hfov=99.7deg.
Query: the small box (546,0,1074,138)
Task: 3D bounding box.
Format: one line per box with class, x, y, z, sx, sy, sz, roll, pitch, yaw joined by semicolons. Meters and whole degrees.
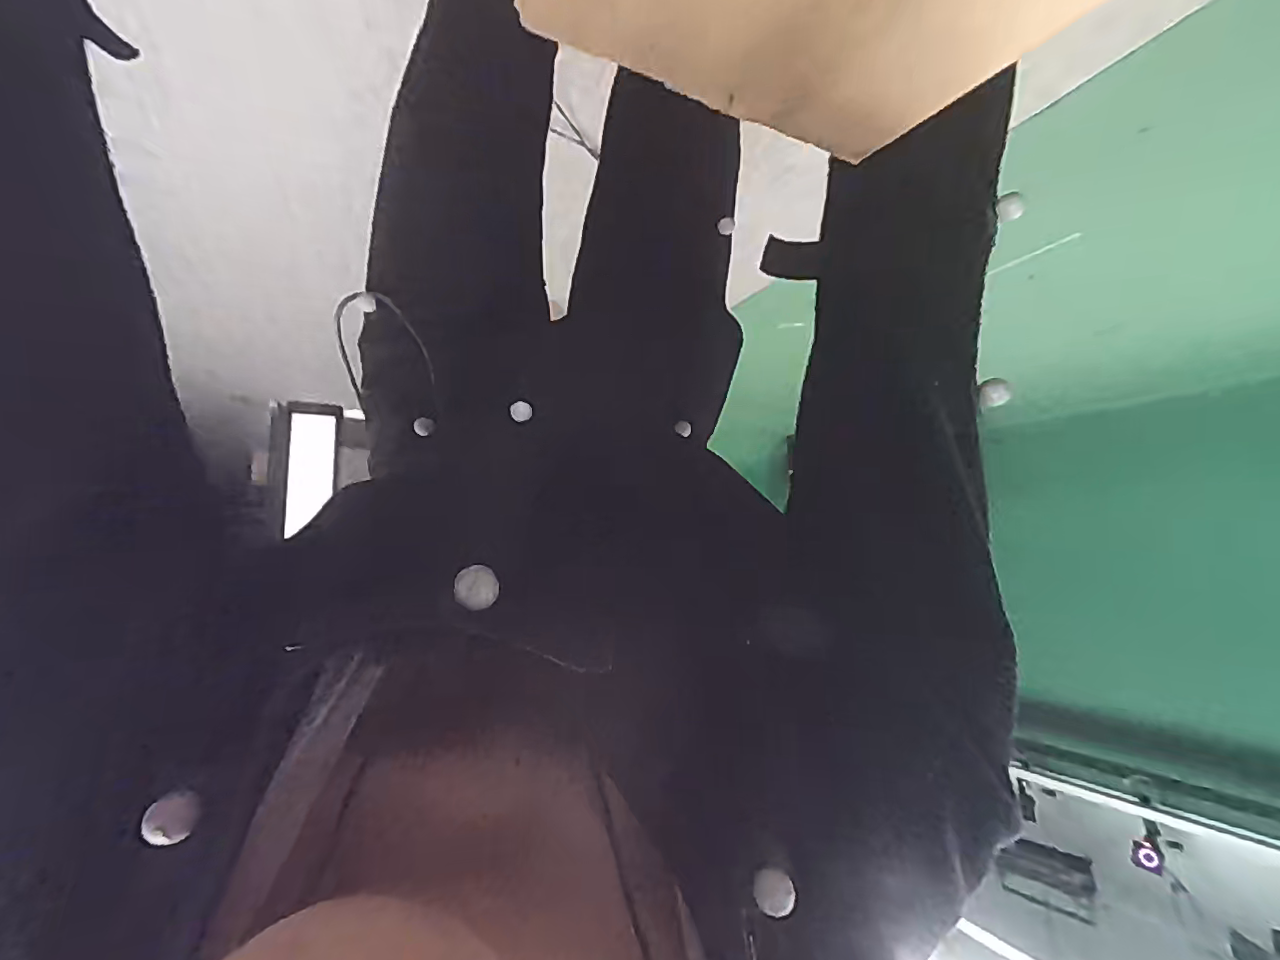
small box;0.075;-0.246;0.146;0.168;0.176;0.179;4;180;-25
